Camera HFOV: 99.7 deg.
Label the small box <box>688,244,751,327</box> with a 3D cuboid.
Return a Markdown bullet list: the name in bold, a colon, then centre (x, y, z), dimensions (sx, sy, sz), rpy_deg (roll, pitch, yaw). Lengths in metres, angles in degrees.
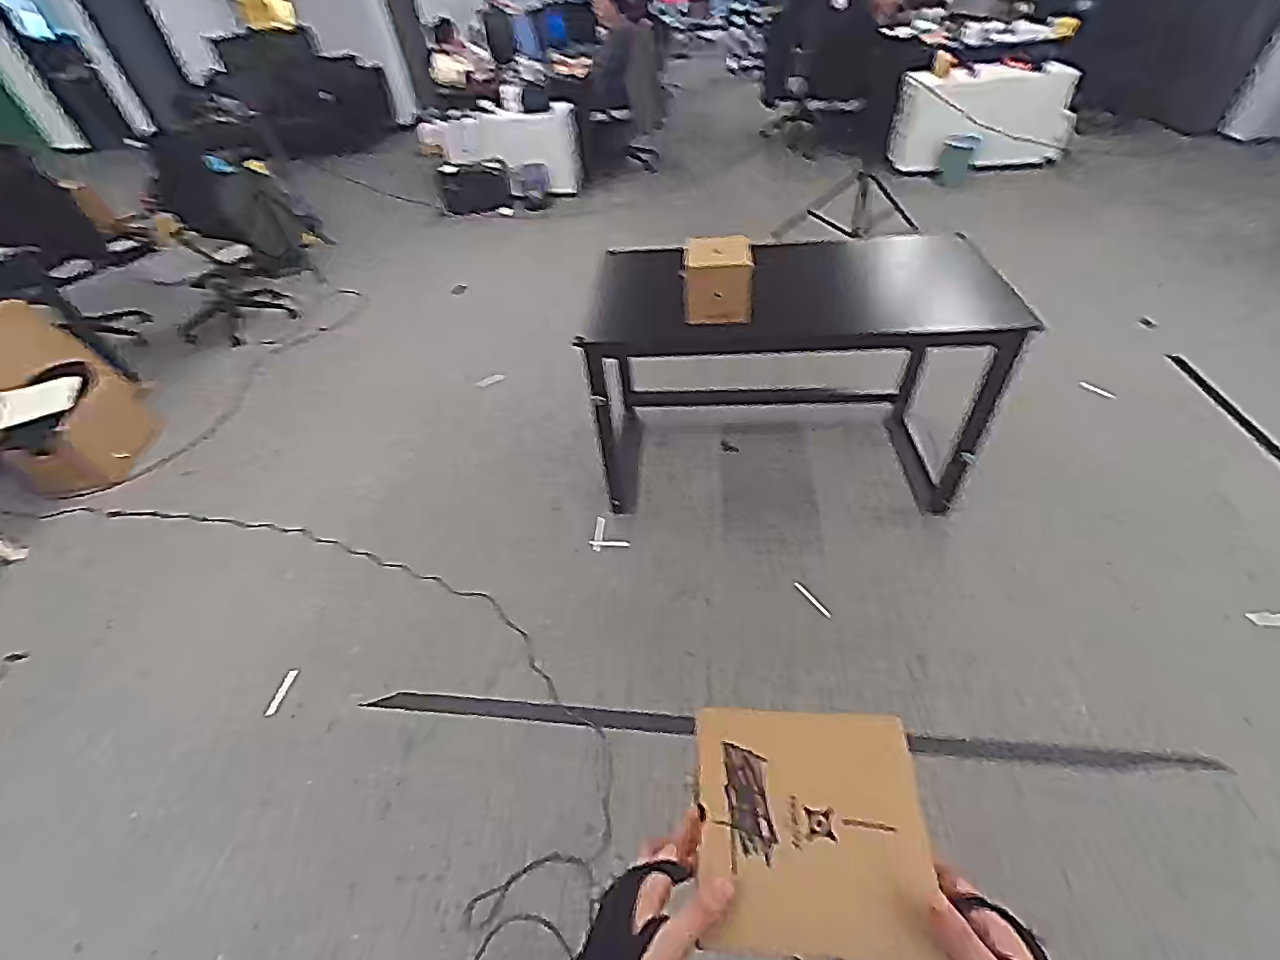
- **small box**: centre (0.221, -0.540, 1.511), dimensions (0.168, 0.176, 0.179), rpy_deg (0, 44, 7)

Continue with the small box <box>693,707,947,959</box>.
- **small box**: centre (0.140, 0.321, 0.489), dimensions (0.179, 0.176, 0.168), rpy_deg (0, 50, 7)
